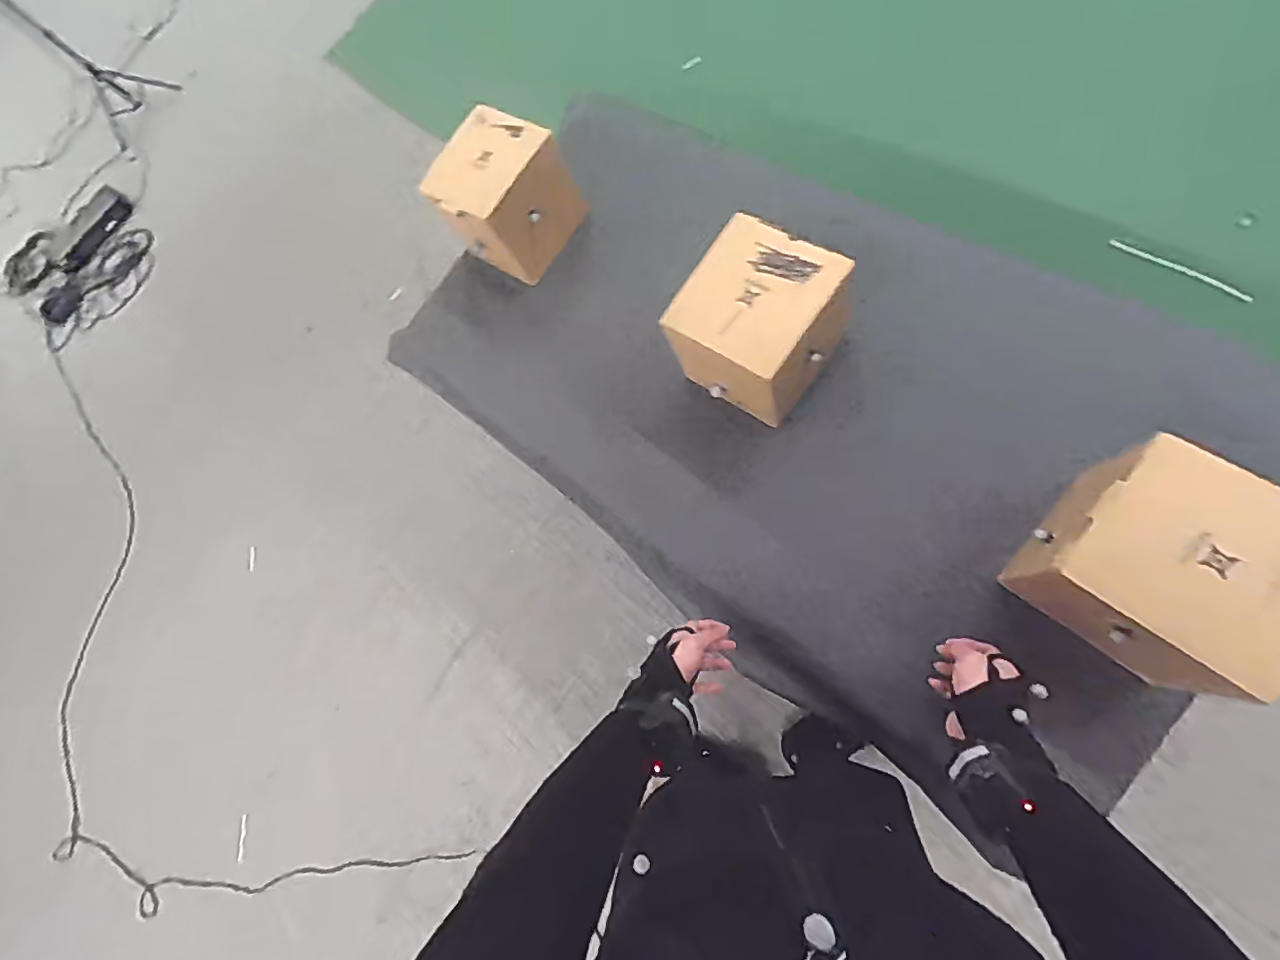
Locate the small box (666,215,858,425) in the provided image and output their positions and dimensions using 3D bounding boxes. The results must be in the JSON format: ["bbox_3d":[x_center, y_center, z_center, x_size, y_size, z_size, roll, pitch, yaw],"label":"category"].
[{"bbox_3d":[0.163,-0.204,0.724,0.168,0.176,0.179,36,89,23],"label":"small box"}]

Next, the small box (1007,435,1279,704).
[{"bbox_3d":[0.513,0.089,0.535,0.179,0.176,0.168,39,90,22],"label":"small box"}]

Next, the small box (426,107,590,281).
[{"bbox_3d":[-0.212,-0.473,0.915,0.168,0.176,0.179,34,88,22],"label":"small box"}]
